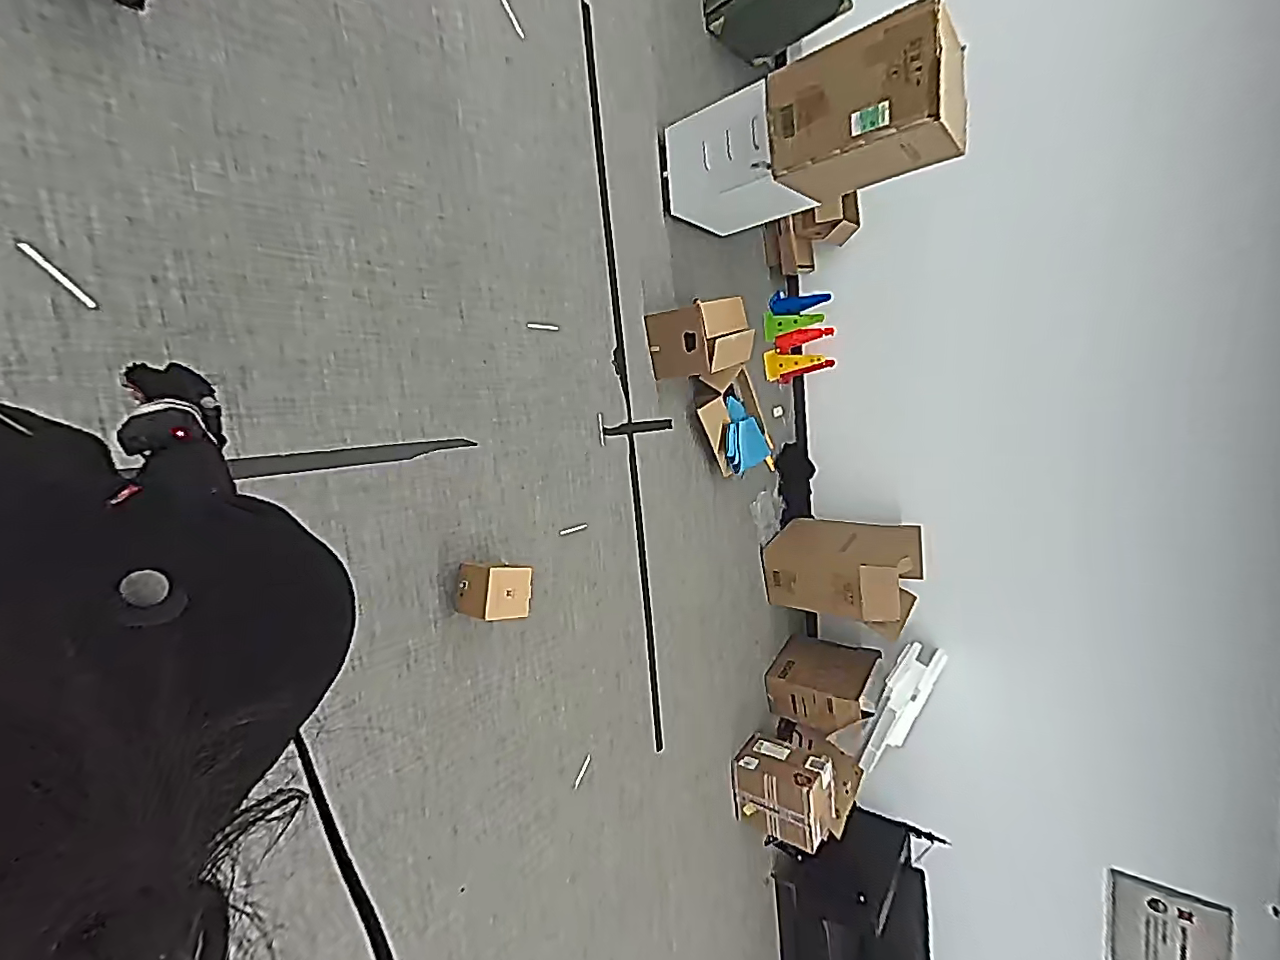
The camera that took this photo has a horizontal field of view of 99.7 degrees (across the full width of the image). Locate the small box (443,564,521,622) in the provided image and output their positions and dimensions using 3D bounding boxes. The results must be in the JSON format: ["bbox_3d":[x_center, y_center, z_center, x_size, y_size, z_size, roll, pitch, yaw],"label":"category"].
[{"bbox_3d":[-0.519,0.367,1.777,0.179,0.176,0.168,11,81,-51],"label":"small box"}]
